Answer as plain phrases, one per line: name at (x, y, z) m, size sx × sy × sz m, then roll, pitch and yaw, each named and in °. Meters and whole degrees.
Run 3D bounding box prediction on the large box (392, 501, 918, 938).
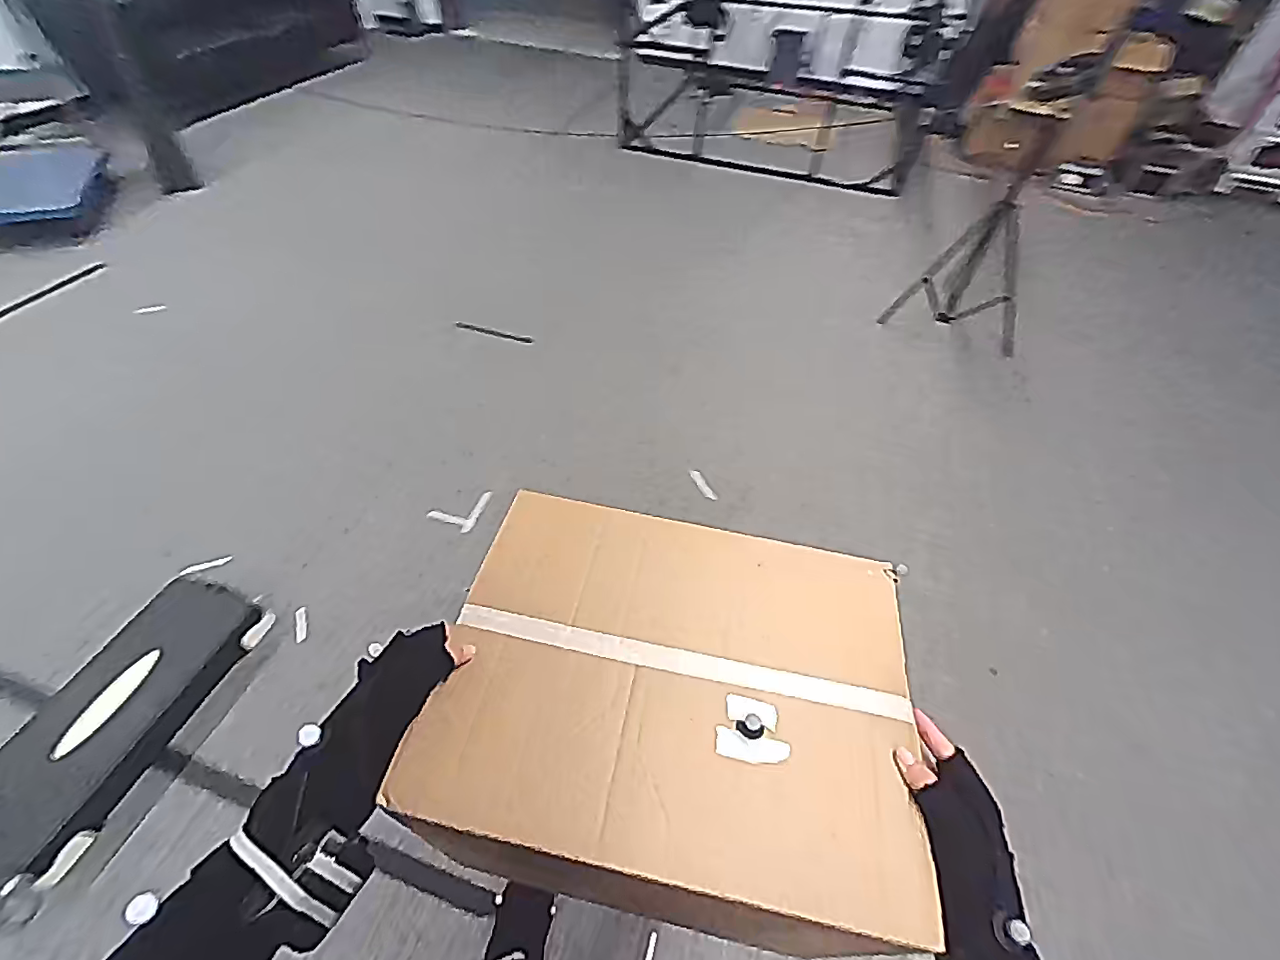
large box at (0.018, 0.264, 0.604) m, size 0.408 × 0.320 × 0.320 m, roll 11°, pitch 48°, yaw 4°
